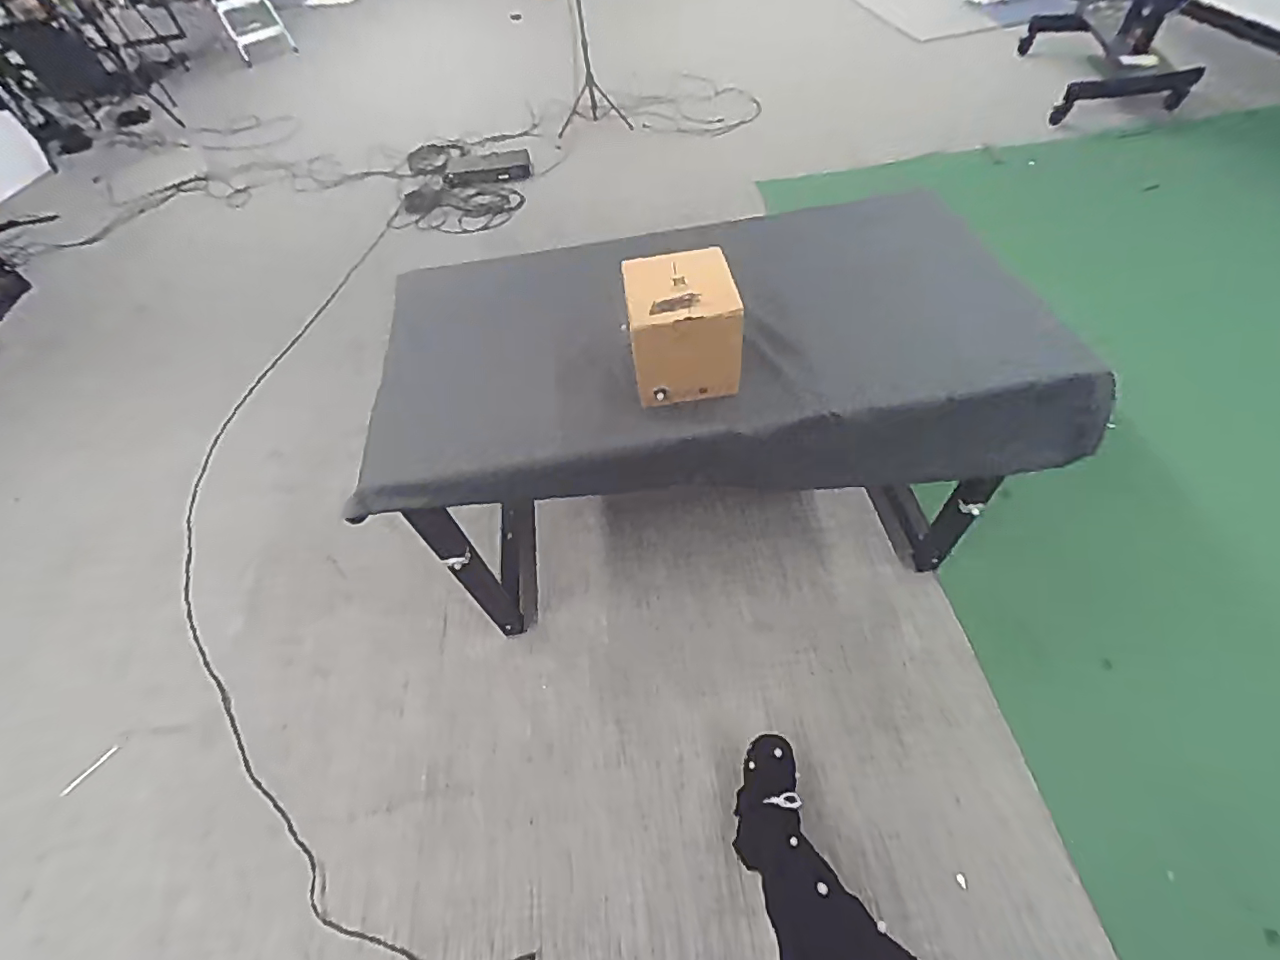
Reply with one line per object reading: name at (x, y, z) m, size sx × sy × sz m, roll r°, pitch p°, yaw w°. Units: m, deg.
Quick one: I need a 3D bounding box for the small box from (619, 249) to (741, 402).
small box at (0.066, -0.248, 0.900) m, size 0.168 × 0.176 × 0.179 m, roll -11°, pitch 55°, yaw -1°
